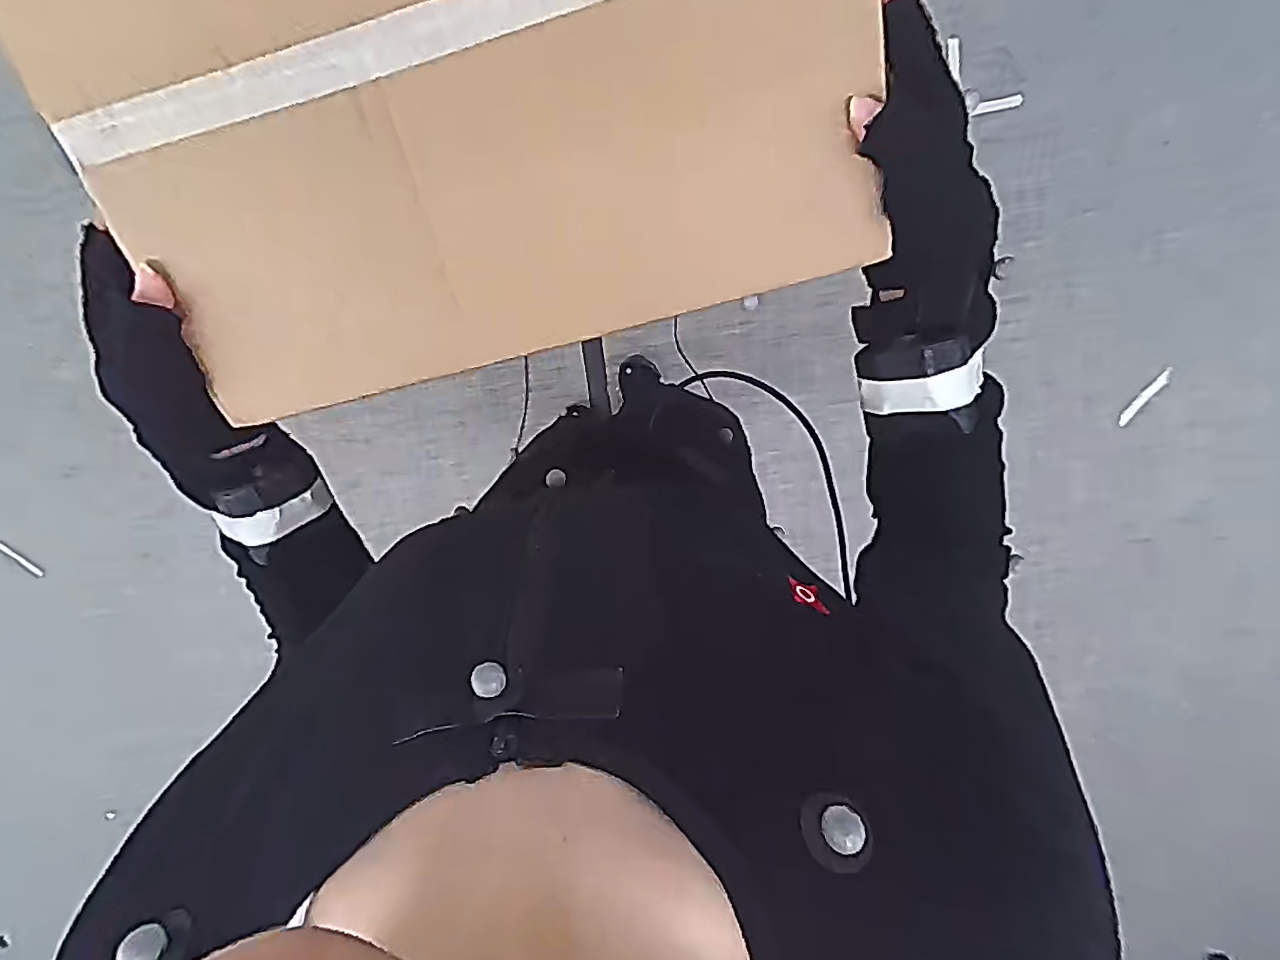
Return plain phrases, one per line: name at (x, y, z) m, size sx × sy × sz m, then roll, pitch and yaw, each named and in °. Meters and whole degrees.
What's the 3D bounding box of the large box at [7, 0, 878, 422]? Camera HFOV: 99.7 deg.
large box at (-0.092, -0.278, 0.401) m, size 0.408 × 0.320 × 0.320 m, roll -13°, pitch 113°, yaw 5°
